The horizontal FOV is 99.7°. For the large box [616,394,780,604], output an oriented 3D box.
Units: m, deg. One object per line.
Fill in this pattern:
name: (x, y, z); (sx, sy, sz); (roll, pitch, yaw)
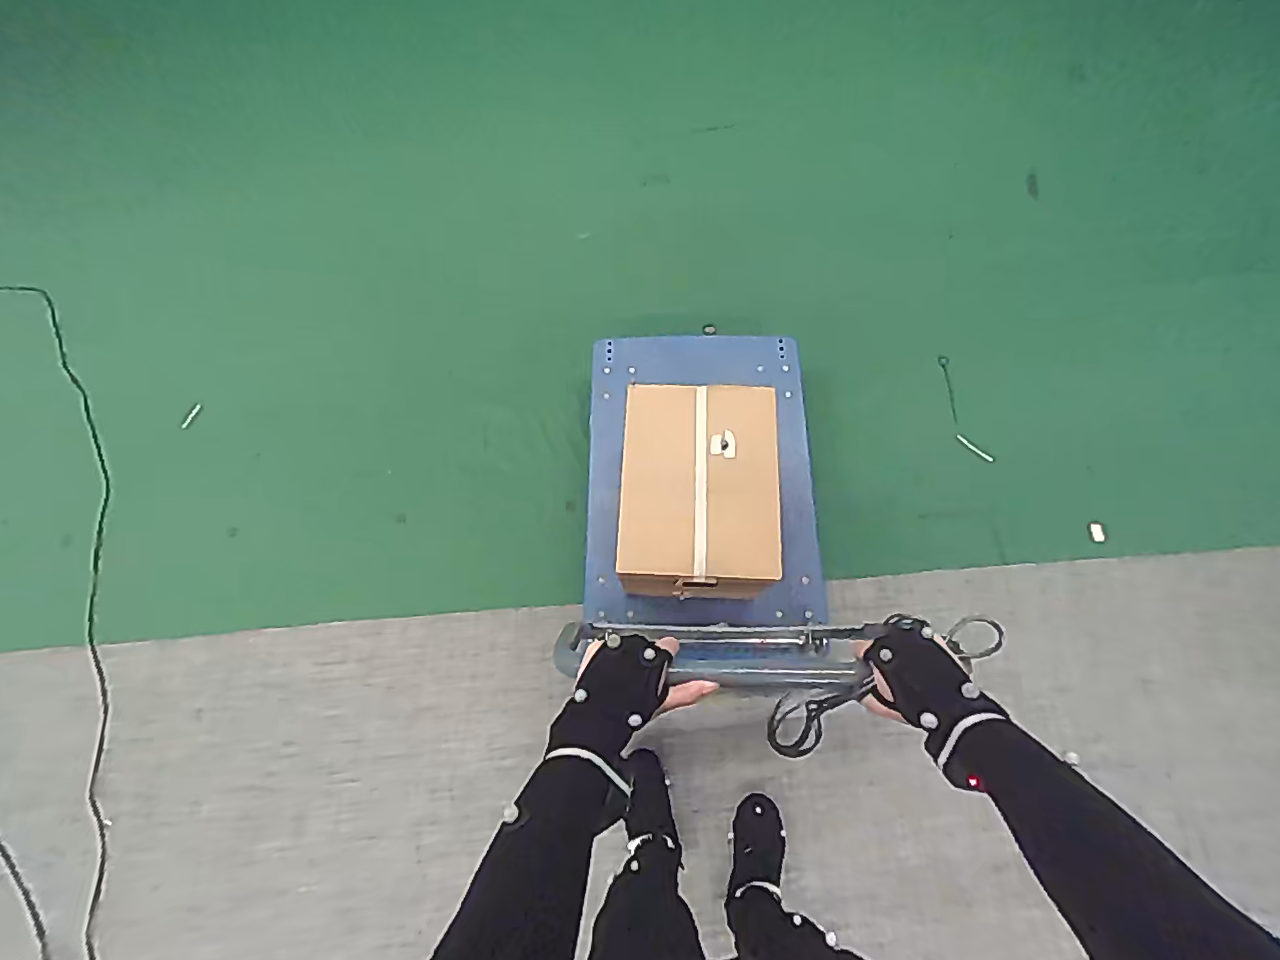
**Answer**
large box: (0.121, 0.058, 1.218); (0.320, 0.320, 0.408); (2, 70, 2)
